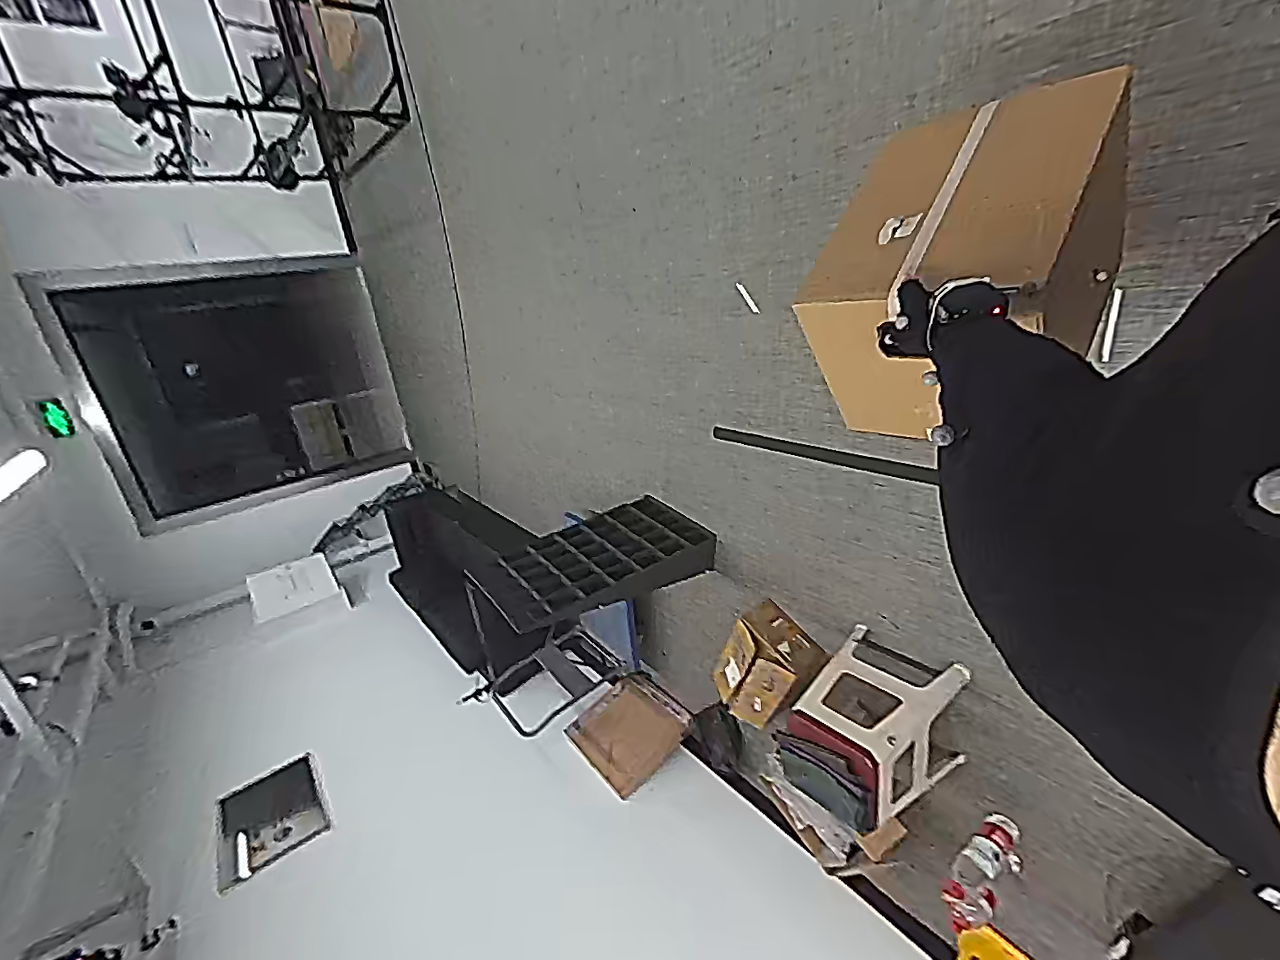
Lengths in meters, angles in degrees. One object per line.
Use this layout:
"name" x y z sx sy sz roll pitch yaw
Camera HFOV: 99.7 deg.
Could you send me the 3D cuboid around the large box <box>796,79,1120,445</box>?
"large box" 0.515 -0.320 0.866 0.320 0.408 0.320 15 158 46
